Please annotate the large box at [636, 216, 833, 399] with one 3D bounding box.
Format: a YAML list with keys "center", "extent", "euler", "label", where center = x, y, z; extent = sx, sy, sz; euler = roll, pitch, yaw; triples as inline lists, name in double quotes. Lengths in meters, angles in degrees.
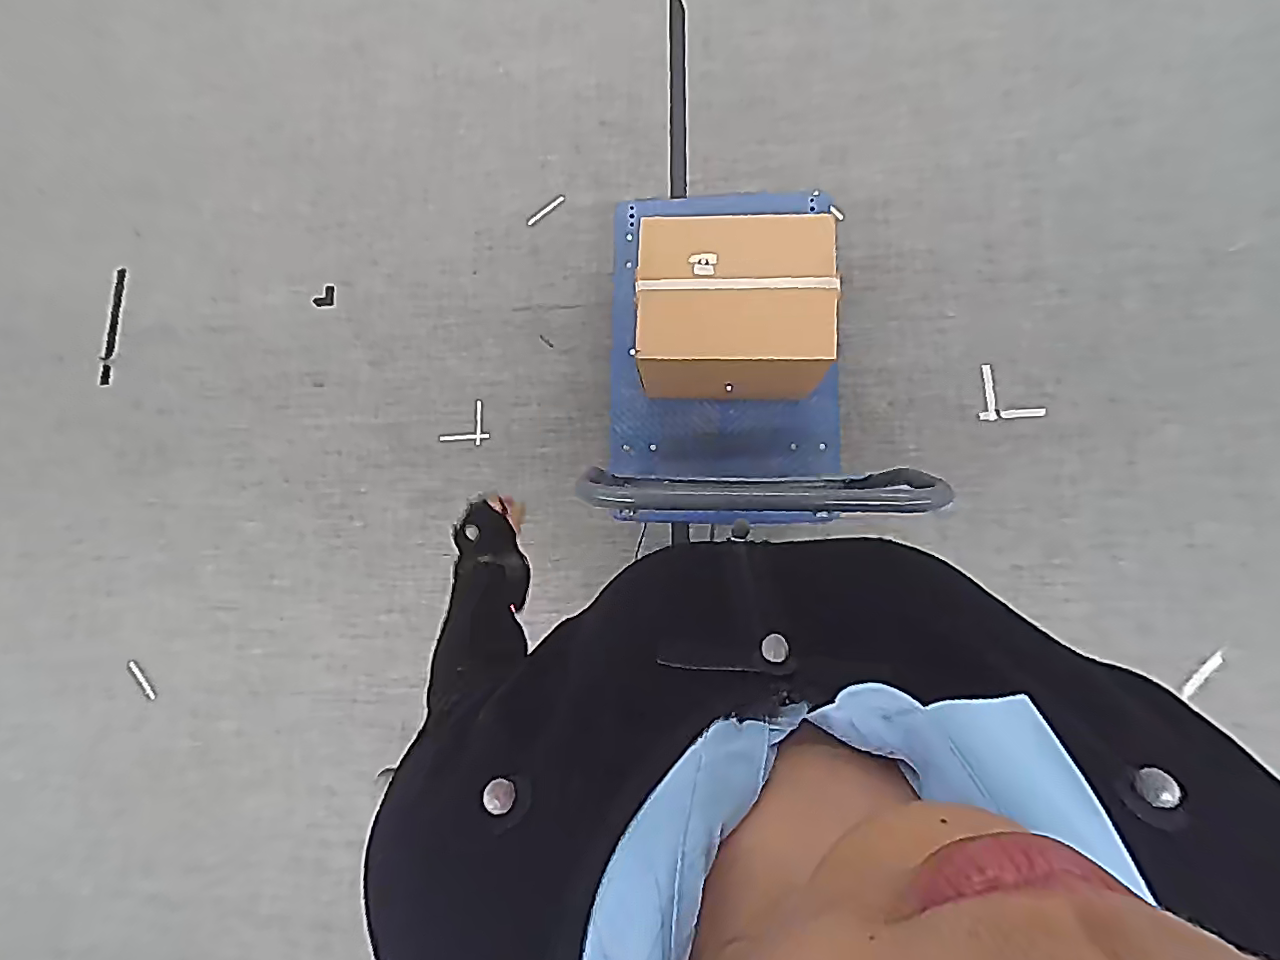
- center: [0.211, -0.378, 1.267]
  extent: [0.408, 0.320, 0.320]
  euler: [1, 82, 6]
  label: "large box"
